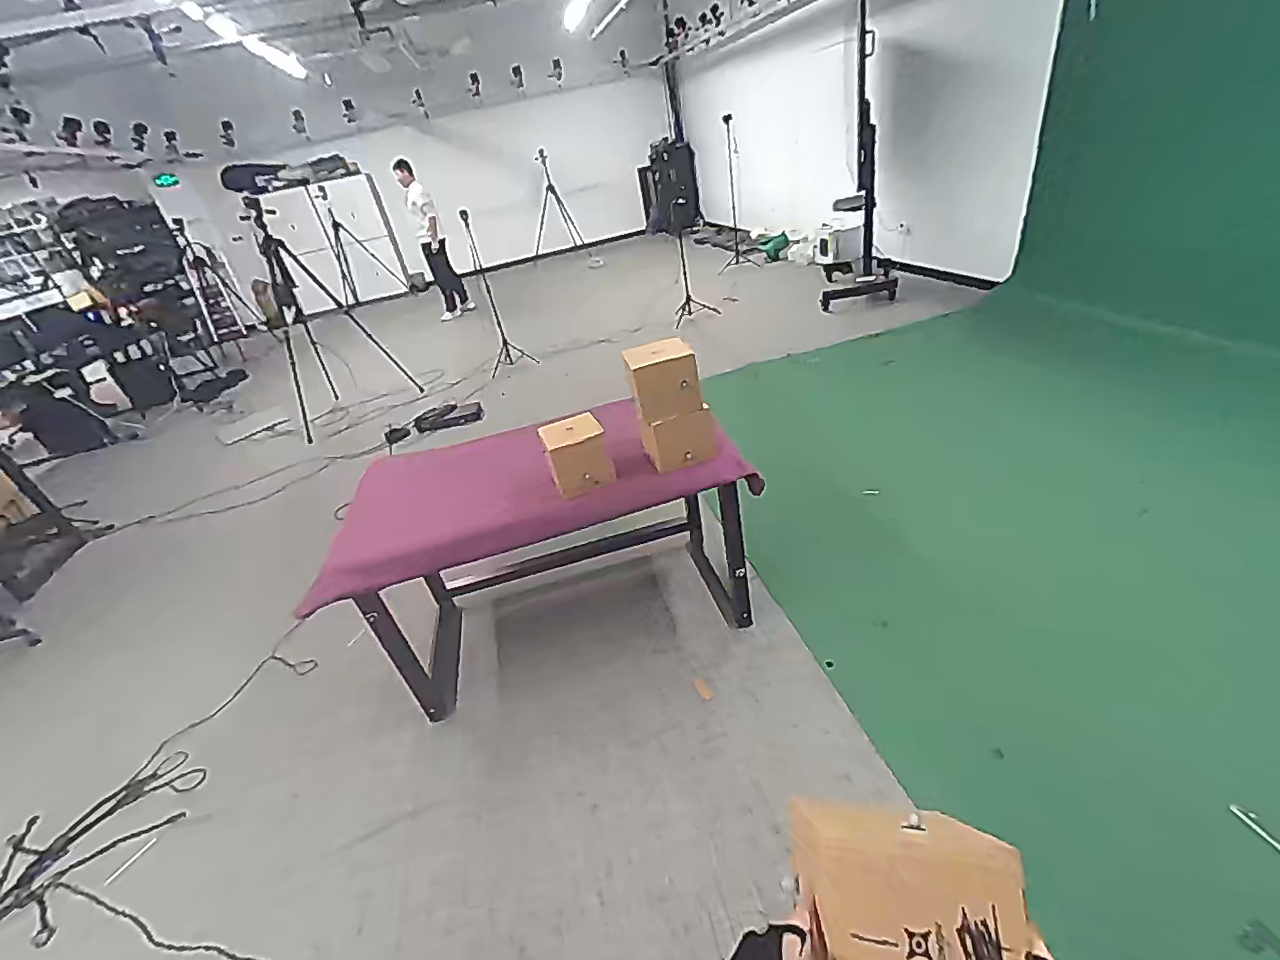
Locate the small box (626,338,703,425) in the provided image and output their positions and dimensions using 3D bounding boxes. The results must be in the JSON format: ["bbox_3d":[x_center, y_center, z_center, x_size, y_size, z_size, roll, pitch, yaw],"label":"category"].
[{"bbox_3d":[0.071,-0.277,1.520,0.179,0.176,0.168,-16,32,-3],"label":"small box"}]

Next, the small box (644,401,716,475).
[{"bbox_3d":[0.115,-0.141,1.600,0.179,0.176,0.168,-19,32,-9],"label":"small box"}]

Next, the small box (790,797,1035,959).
[{"bbox_3d":[0.254,0.429,0.537,0.179,0.176,0.168,2,70,6],"label":"small box"}]

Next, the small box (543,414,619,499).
[{"bbox_3d":[-0.174,-0.070,1.593,0.168,0.176,0.179,-20,31,-11],"label":"small box"}]
